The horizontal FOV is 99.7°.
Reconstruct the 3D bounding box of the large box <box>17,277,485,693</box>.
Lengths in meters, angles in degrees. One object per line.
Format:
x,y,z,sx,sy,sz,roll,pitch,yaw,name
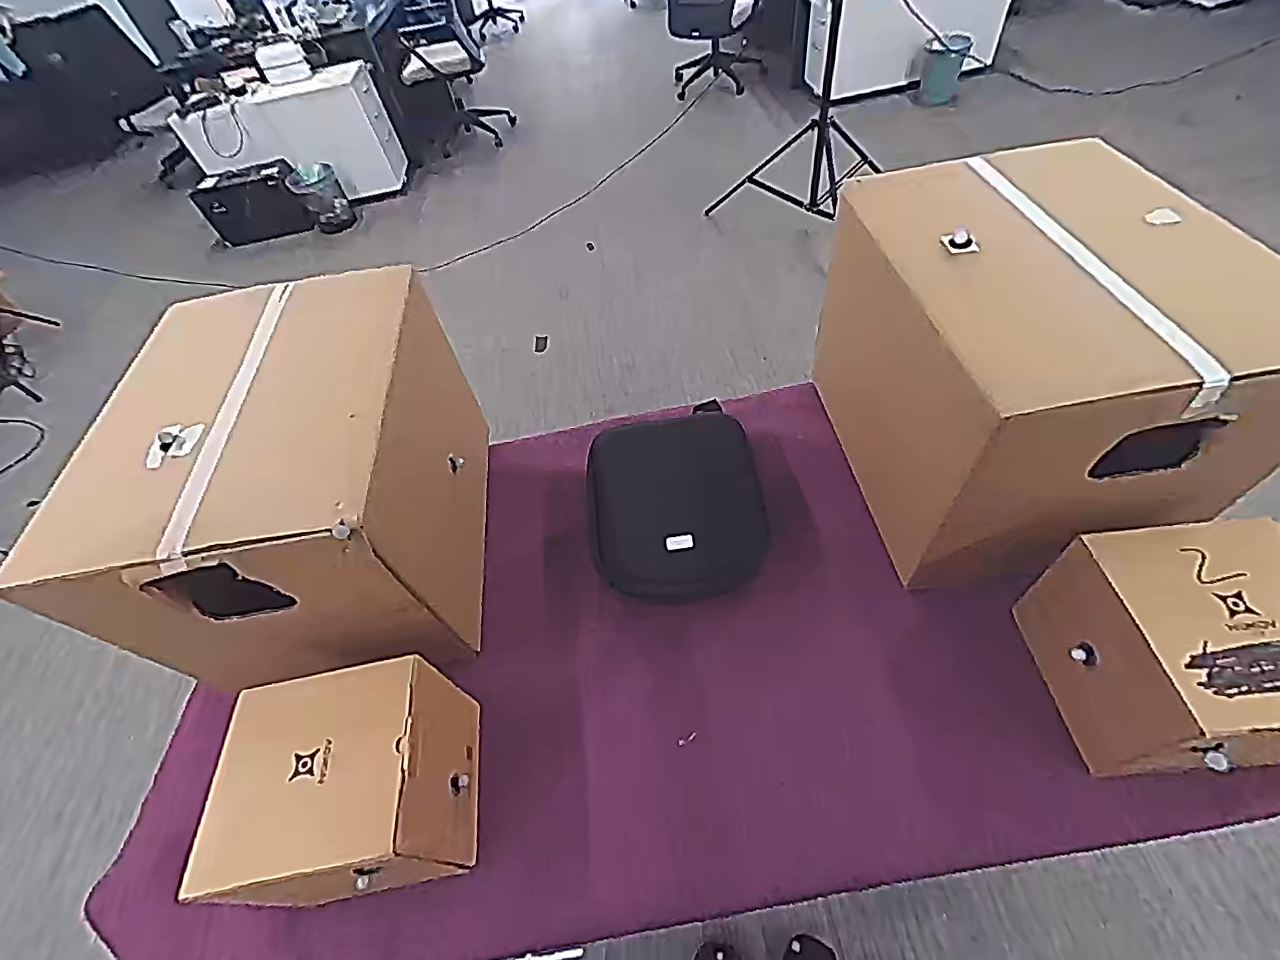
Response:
-0.394,0.009,0.690,0.320,0.320,0.408,-11,54,0,large box

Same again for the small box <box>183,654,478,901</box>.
-0.278,0.299,0.536,0.179,0.176,0.168,-12,50,-1,small box
